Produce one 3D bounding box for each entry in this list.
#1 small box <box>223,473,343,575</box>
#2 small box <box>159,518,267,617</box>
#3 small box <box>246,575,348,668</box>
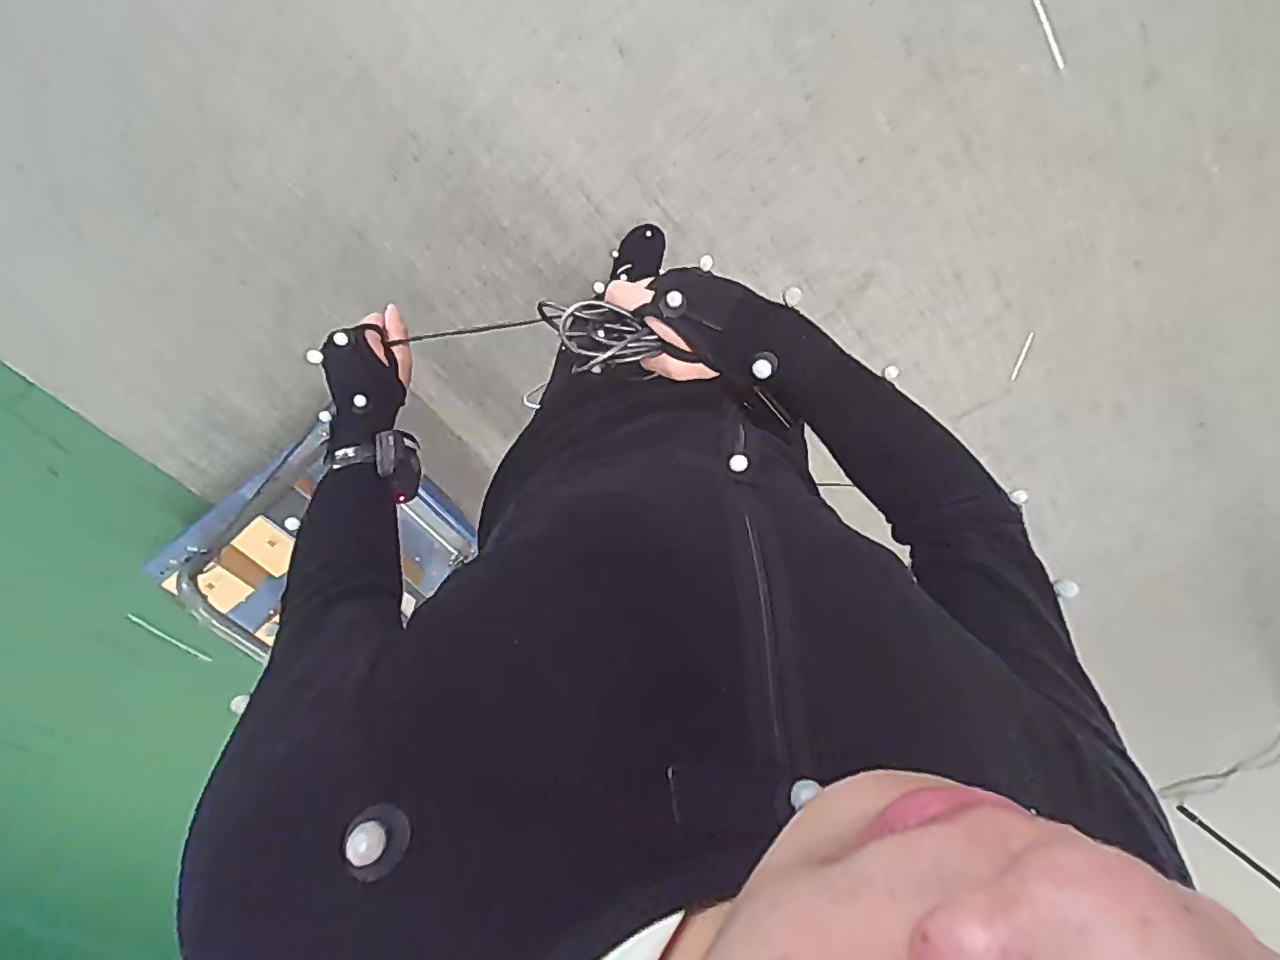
[{"bbox_3d":[-0.948,0.115,1.455,0.179,0.176,0.168,-31,116,13],"label":"small box"},{"bbox_3d":[-1.163,0.241,1.512,0.179,0.176,0.168,-34,116,14],"label":"small box"},{"bbox_3d":[-1.013,0.419,1.621,0.179,0.176,0.168,-35,115,15],"label":"small box"}]
